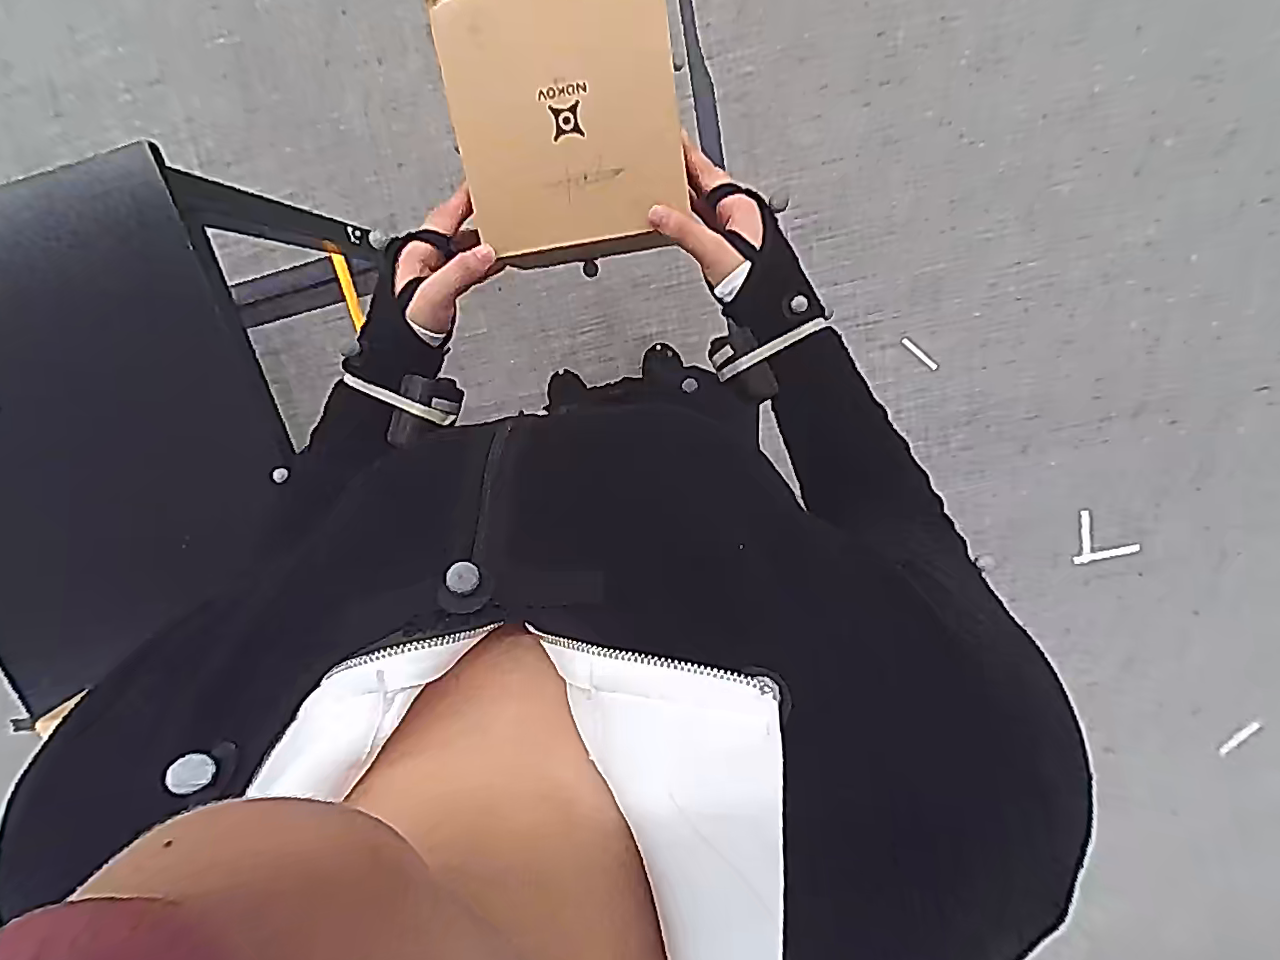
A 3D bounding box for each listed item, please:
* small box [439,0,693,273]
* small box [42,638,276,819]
[{"bbox_3d":[-0.051,-0.291,0.479,0.168,0.176,0.179,-8,108,3],"label":"small box"},{"bbox_3d":[-0.682,0.354,0.797,0.179,0.176,0.168,-11,104,5],"label":"small box"}]
